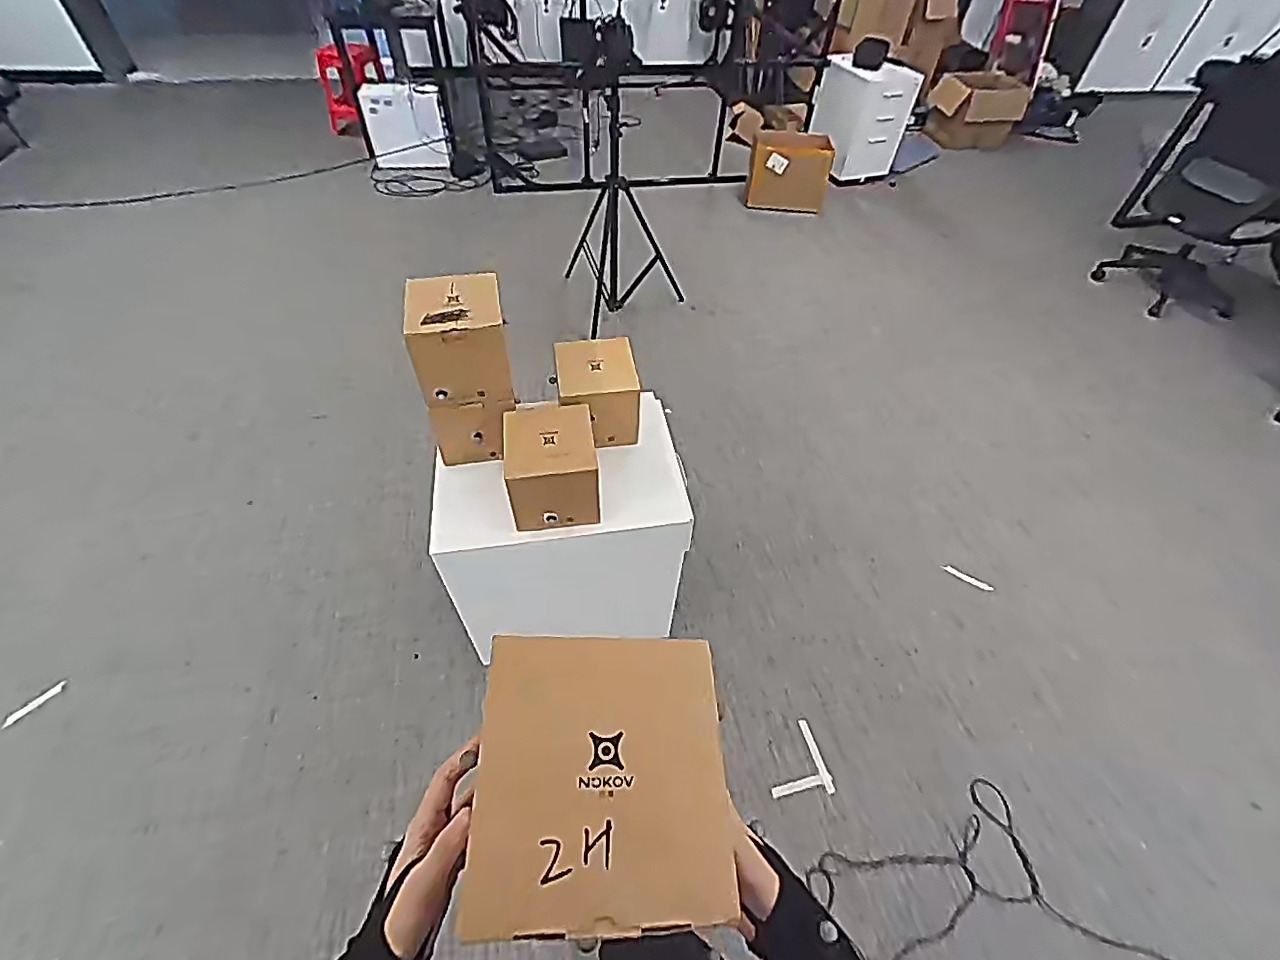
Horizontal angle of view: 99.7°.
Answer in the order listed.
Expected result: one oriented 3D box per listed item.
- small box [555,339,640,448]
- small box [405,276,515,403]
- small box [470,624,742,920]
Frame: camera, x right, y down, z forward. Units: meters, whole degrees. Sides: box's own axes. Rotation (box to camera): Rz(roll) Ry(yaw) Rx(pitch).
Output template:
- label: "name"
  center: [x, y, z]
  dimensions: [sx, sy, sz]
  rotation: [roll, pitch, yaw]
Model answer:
- label: "small box"
  center: [-0.094, -0.184, 1.196]
  dimensions: [0.168, 0.176, 0.179]
  rotation: [-7, 51, -8]
- label: "small box"
  center: [-0.336, -0.261, 1.031]
  dimensions: [0.168, 0.176, 0.179]
  rotation: [-9, 51, -11]
- label: "small box"
  center: [-0.033, 0.230, 0.430]
  dimensions: [0.168, 0.176, 0.179]
  rotation: [3, 55, -8]
